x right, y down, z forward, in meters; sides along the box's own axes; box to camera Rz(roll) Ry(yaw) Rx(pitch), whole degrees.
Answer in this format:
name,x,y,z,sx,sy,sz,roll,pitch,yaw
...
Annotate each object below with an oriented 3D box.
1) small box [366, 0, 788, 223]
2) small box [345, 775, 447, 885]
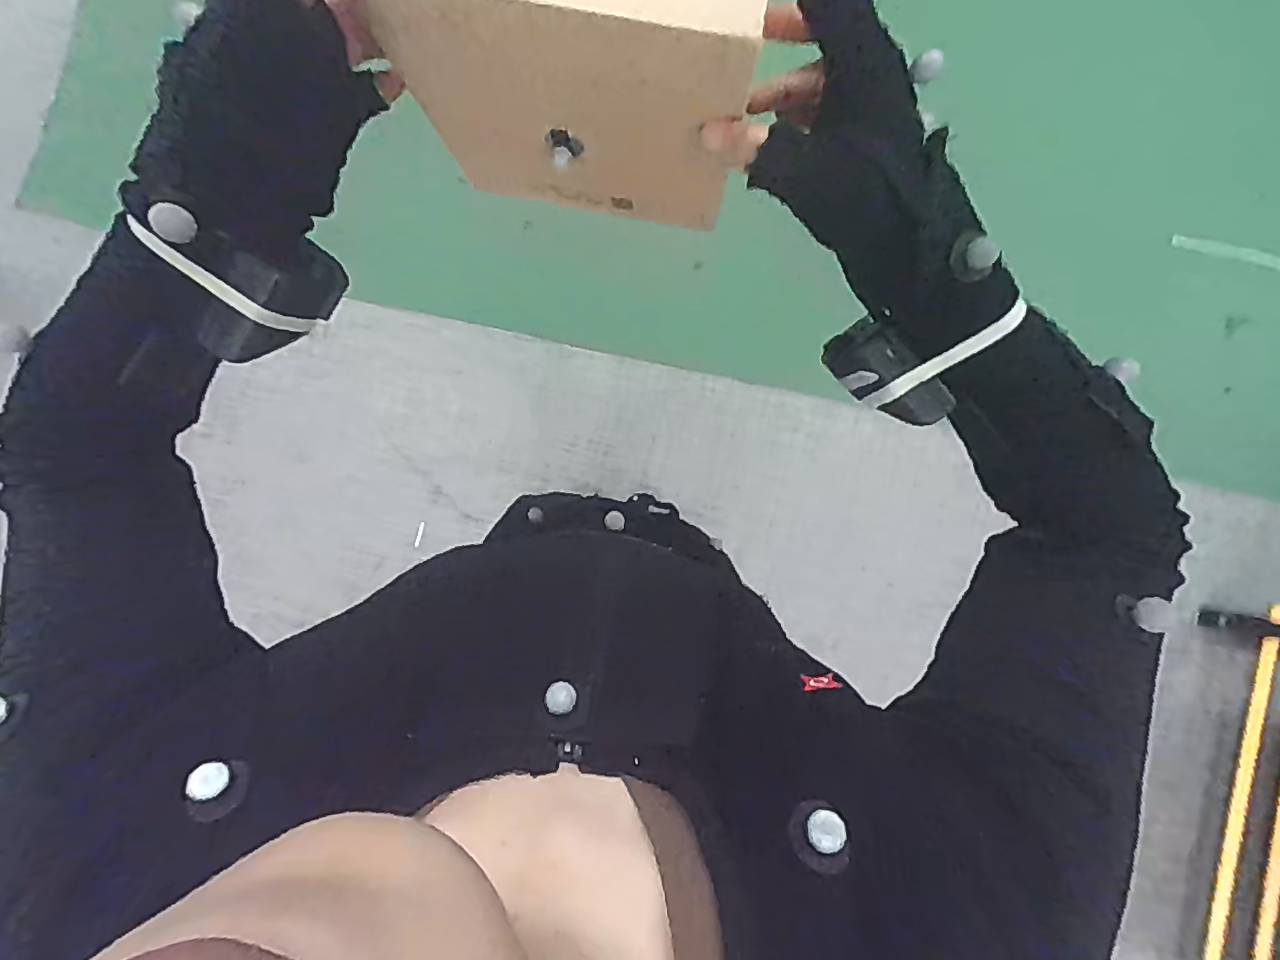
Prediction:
name,x,y,z,sx,sy,sz,roll,pitch,yaw
small box,-0.010,-0.258,0.274,0.168,0.176,0.179,11,93,0
small box,-0.620,0.891,1.394,0.179,0.176,0.168,10,89,1
